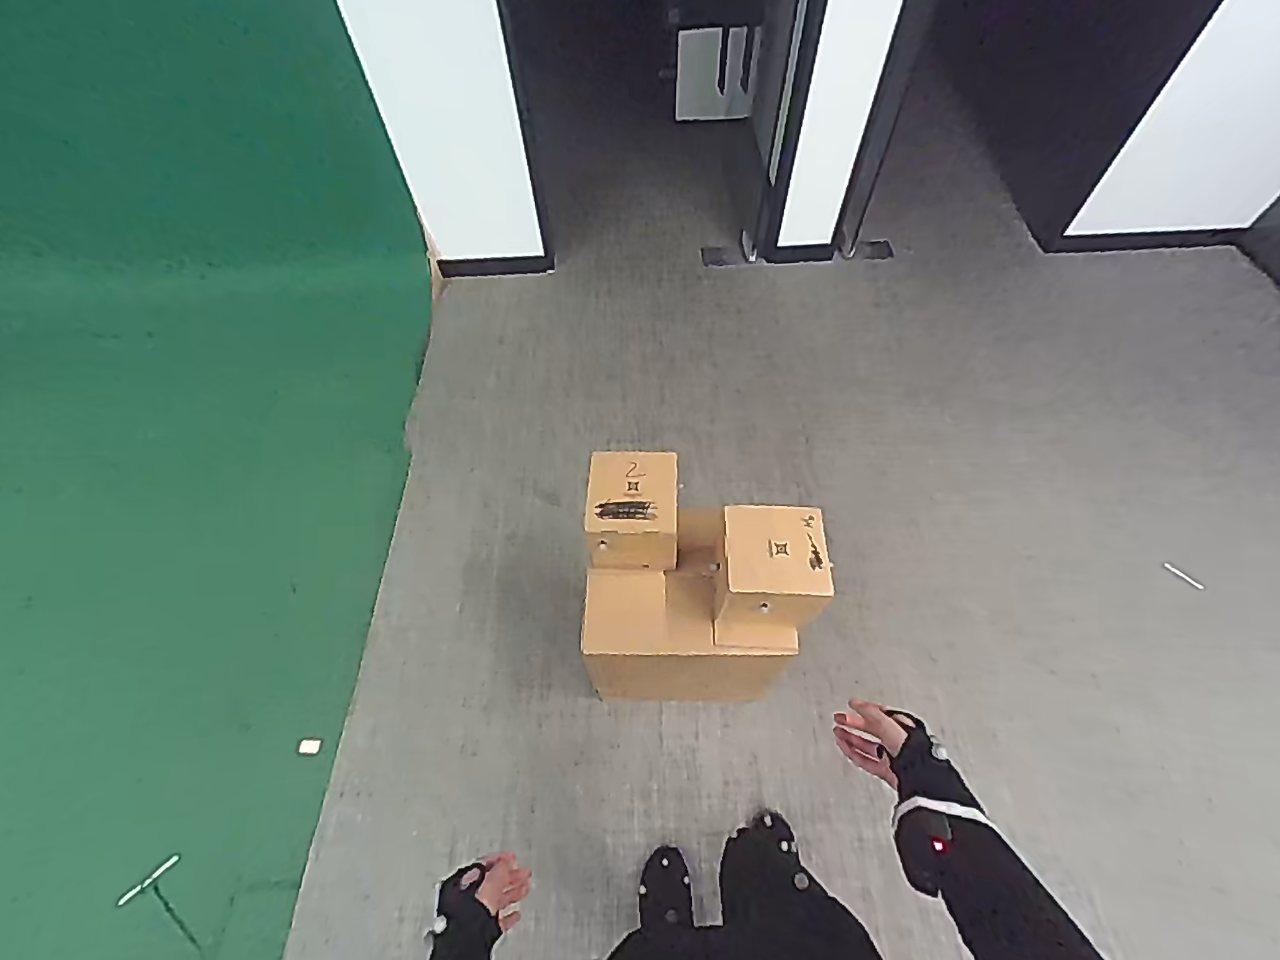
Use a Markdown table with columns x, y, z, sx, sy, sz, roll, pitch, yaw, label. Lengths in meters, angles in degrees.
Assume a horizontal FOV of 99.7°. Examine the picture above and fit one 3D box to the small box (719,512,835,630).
| x | y | z | sx | sy | sz | roll | pitch | yaw | label |
| --- | --- | --- | --- | --- | --- | --- | --- | --- | --- |
| 0.238 | 0.170 | 0.988 | 0.179 | 0.176 | 0.168 | 1 | 58 | 3 | small box |
